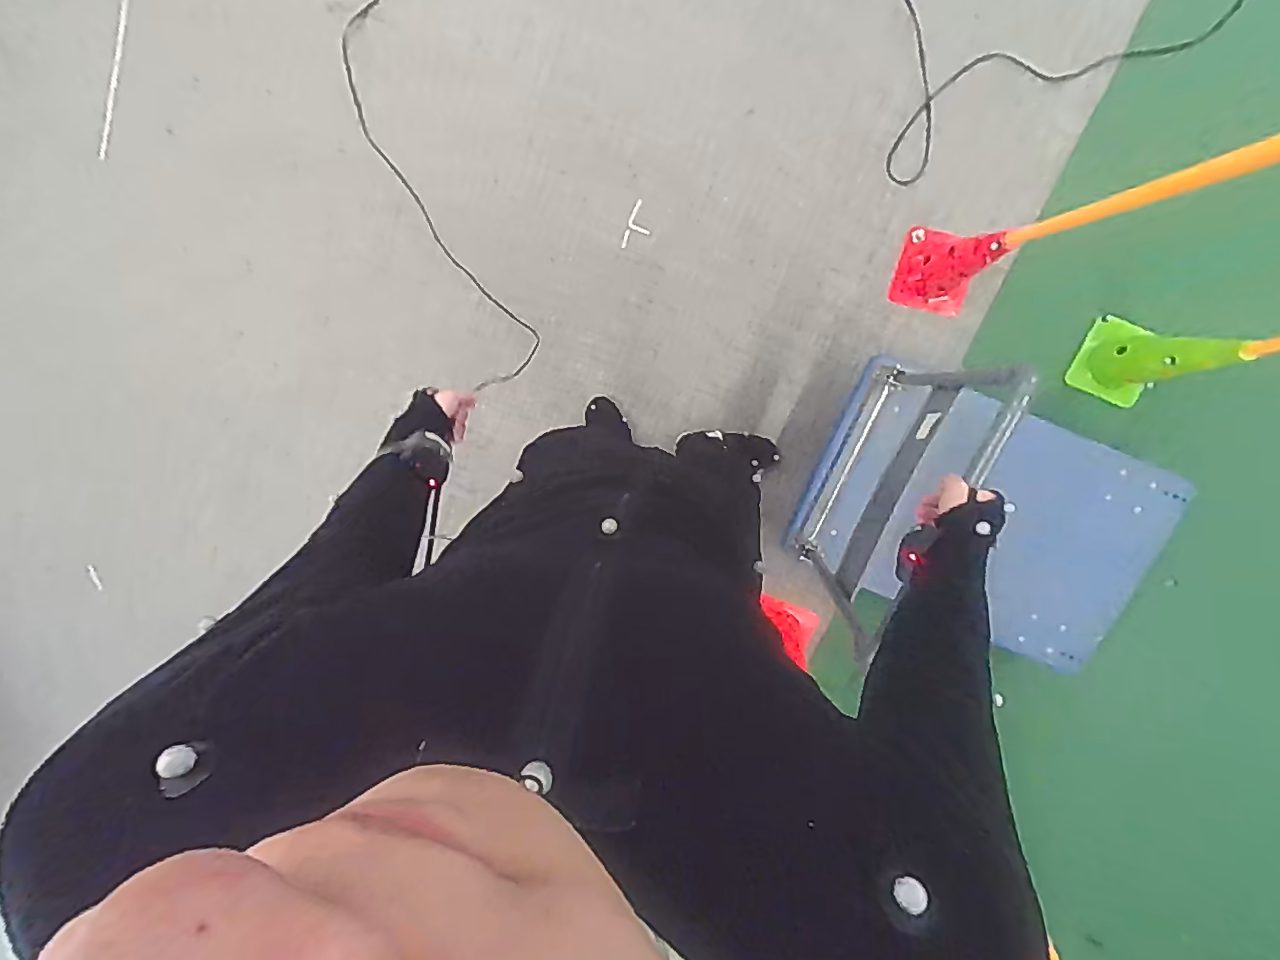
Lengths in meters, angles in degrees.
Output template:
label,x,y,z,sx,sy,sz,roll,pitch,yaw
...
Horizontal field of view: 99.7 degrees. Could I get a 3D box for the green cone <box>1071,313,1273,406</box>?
label,x,y,z,sx,sy,sz,roll,pitch,yaw
green cone,1.266,-0.288,1.268,0.202,0.368,0.200,22,101,-1

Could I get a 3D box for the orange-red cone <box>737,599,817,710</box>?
label,x,y,z,sx,sy,sz,roll,pitch,yaw
orange-red cone,0.410,0.509,1.487,0.199,0.360,0.198,22,102,-2
